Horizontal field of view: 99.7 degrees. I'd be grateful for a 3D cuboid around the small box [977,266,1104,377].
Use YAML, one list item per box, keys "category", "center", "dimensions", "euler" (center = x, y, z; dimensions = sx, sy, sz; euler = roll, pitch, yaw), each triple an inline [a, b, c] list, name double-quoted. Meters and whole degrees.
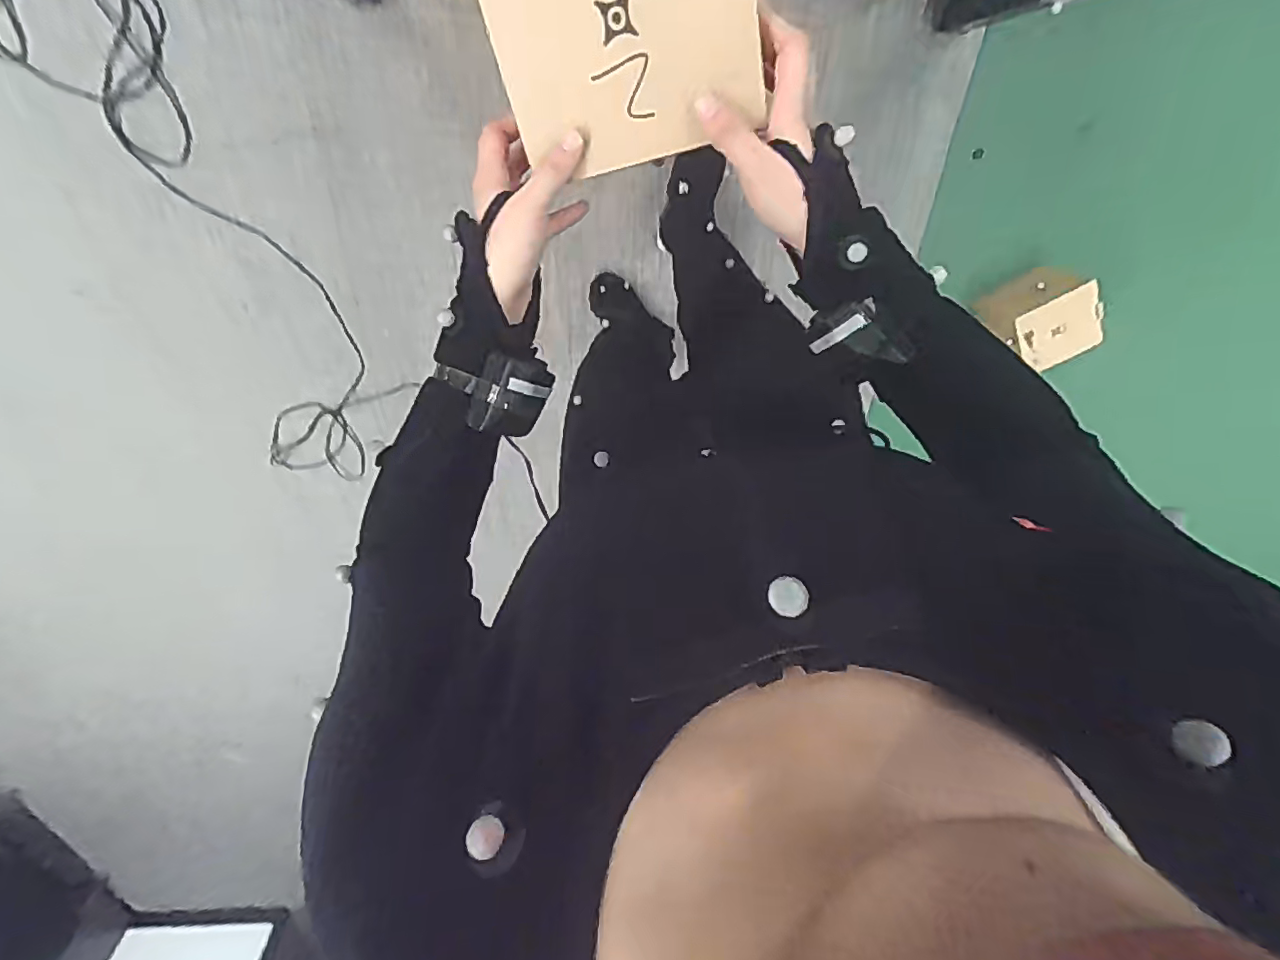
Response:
- category: "small box"
  center: [0.947, -0.382, 1.286]
  dimensions: [0.179, 0.176, 0.168]
  euler: [-27, 120, 14]
